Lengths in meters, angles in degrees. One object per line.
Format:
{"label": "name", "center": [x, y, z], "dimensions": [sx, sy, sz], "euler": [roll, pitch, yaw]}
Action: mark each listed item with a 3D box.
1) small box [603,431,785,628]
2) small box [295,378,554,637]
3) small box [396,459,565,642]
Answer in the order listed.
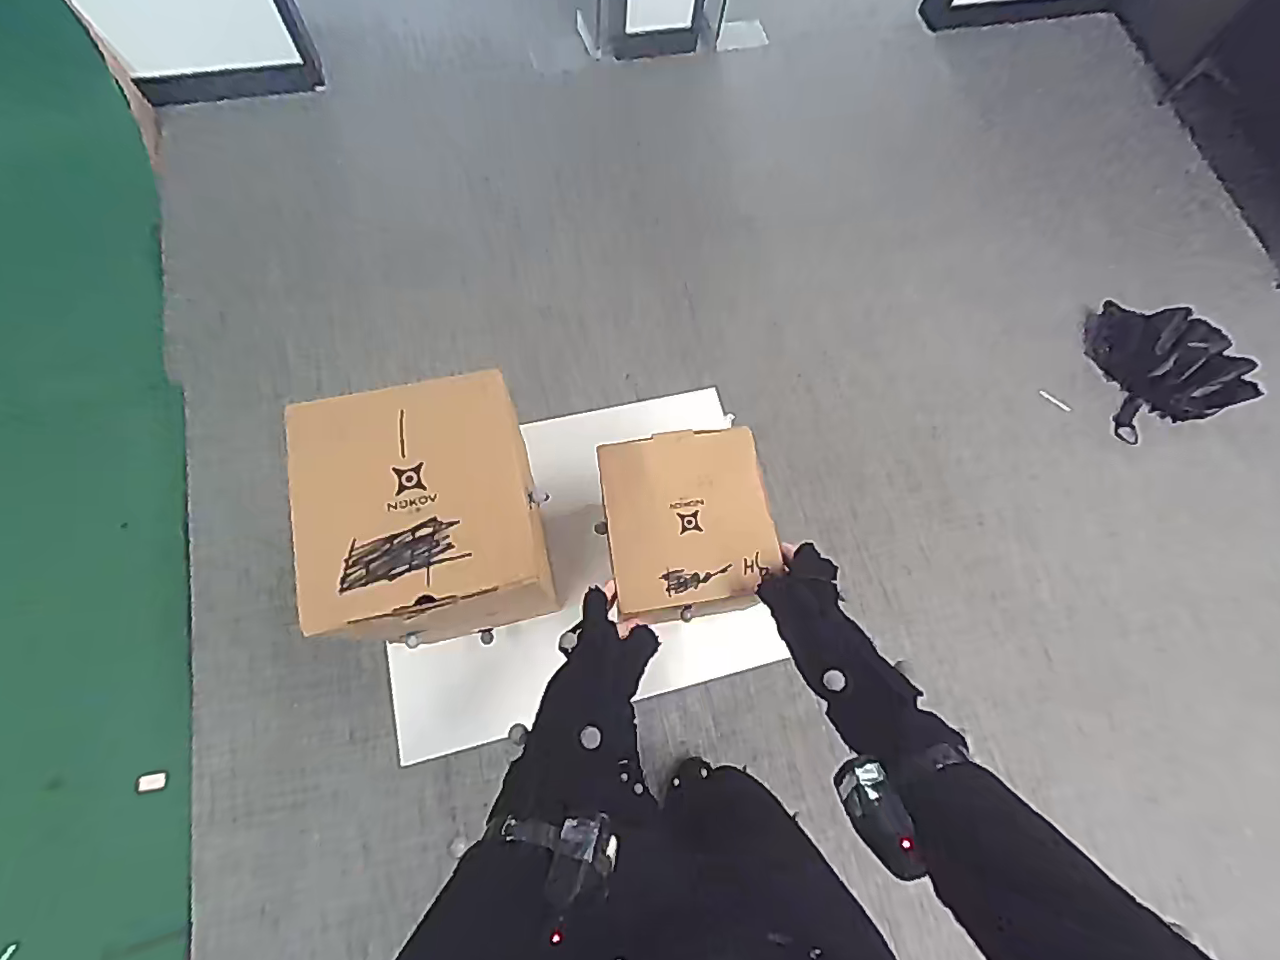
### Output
{"label": "small box", "center": [0.047, 0.065, 0.623], "dimensions": [0.168, 0.176, 0.179], "euler": [-7, 70, -5]}
{"label": "small box", "center": [-0.177, 0.036, 0.486], "dimensions": [0.168, 0.176, 0.179], "euler": [-12, 73, -8]}
{"label": "small box", "center": [-0.189, 0.087, 0.642], "dimensions": [0.168, 0.176, 0.179], "euler": [-14, 76, -8]}
